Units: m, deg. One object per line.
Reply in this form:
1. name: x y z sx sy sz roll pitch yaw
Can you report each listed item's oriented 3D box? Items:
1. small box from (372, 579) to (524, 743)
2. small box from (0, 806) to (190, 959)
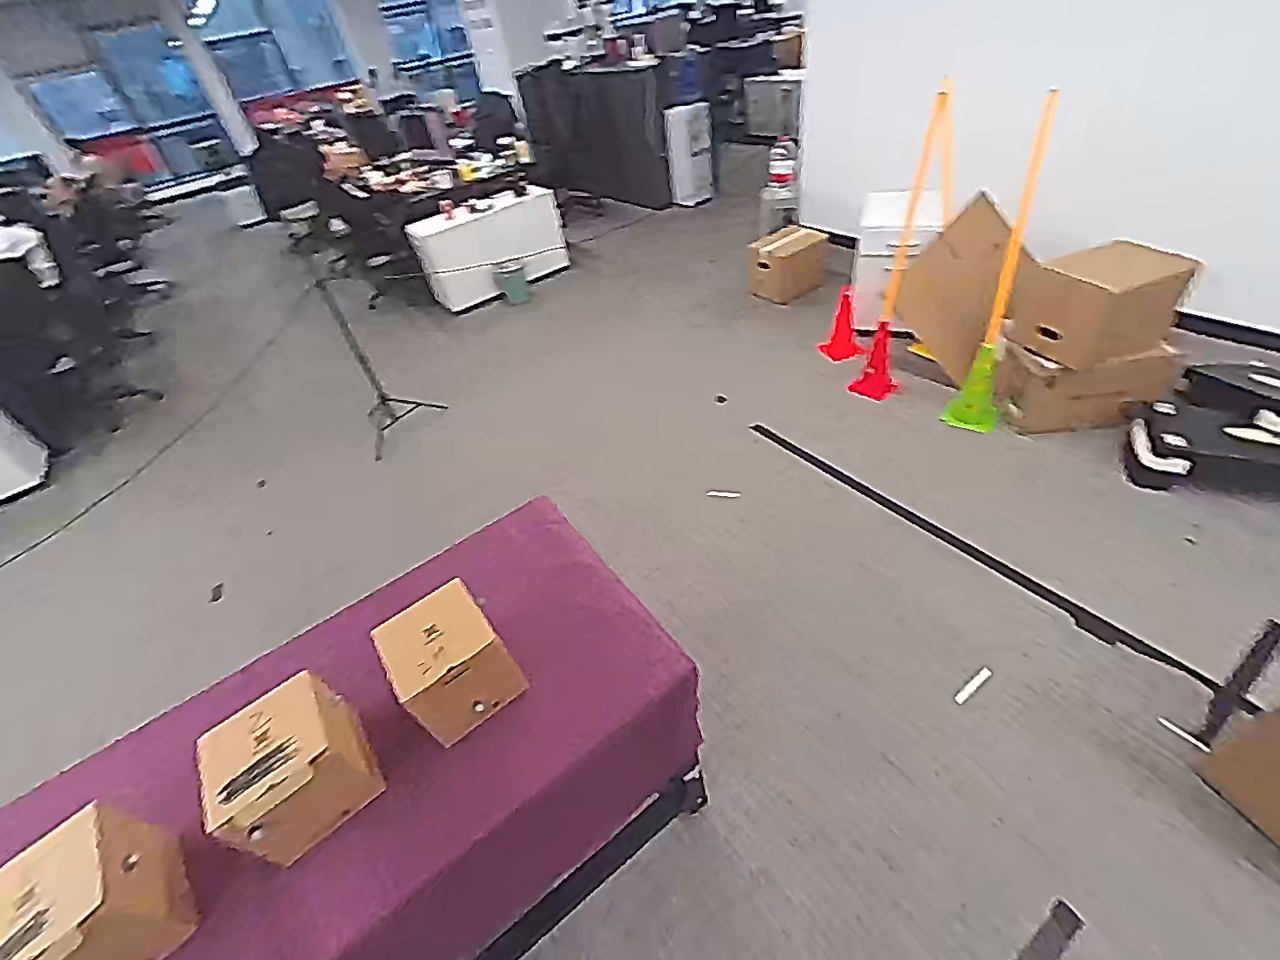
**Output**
1. small box: -0.329 0.314 0.942 0.168 0.176 0.179 -33 46 -21
2. small box: -0.763 0.597 0.734 0.179 0.176 0.168 29 55 37
